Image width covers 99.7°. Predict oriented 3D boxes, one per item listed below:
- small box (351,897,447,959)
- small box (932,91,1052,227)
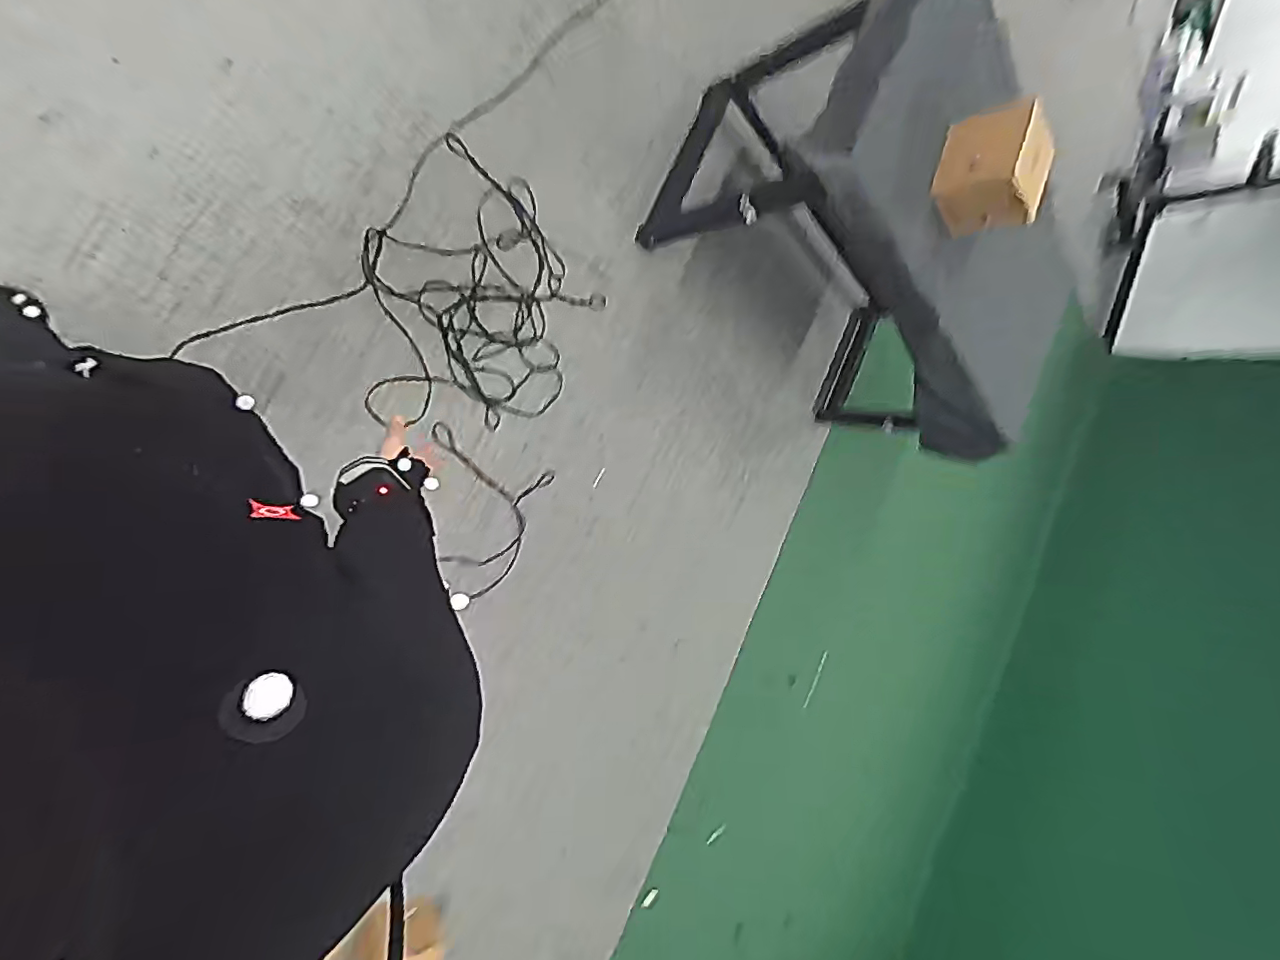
[{"bbox_3d":[-0.633,1.242,1.406,0.168,0.176,0.179,24,83,-39],"label":"small box"},{"bbox_3d":[0.769,-0.690,1.190,0.168,0.176,0.179,21,85,-41],"label":"small box"}]
